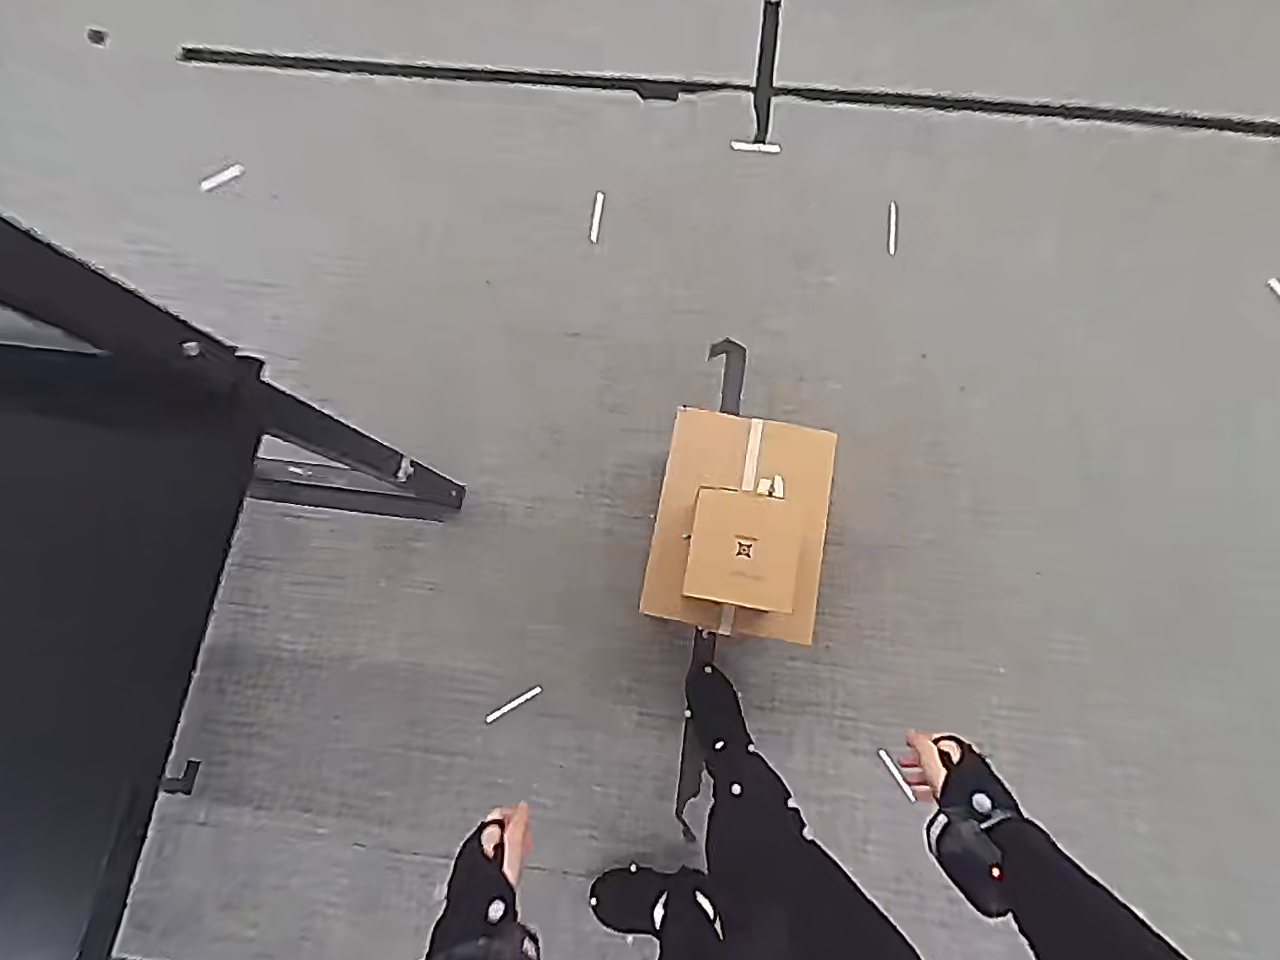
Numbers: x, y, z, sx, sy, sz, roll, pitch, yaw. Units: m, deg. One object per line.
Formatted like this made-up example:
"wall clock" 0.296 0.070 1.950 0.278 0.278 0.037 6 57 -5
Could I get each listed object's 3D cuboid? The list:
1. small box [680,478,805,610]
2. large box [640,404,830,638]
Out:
"small box" 0.160 0.111 0.894 0.168 0.176 0.179 10 79 5
"large box" 0.186 0.100 1.146 0.320 0.320 0.408 10 78 2
